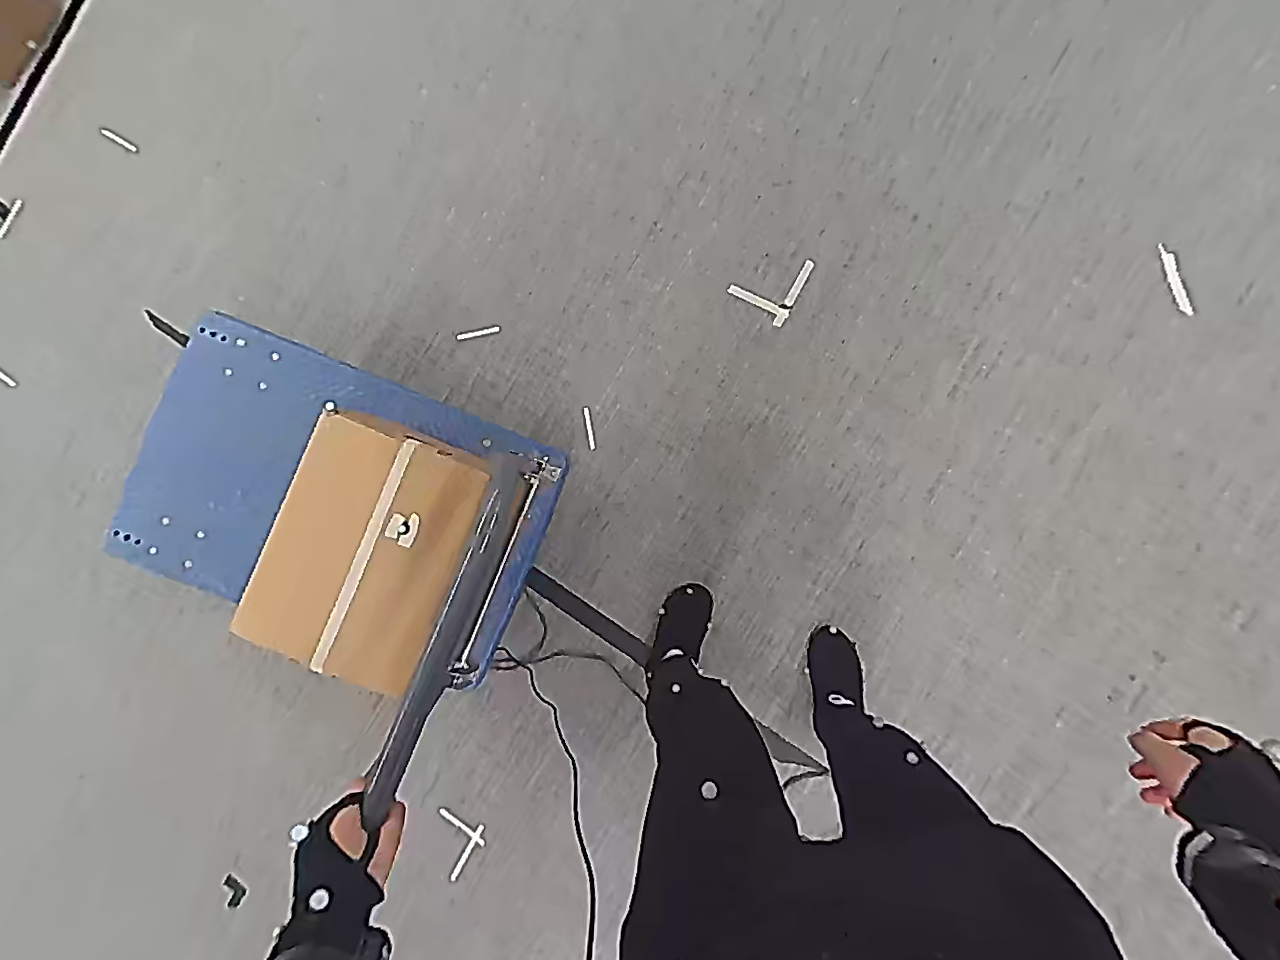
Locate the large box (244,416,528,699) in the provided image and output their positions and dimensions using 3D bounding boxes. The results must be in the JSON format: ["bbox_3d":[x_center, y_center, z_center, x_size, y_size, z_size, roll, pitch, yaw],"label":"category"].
[{"bbox_3d":[-0.454,0.135,1.054,0.320,0.320,0.408,22,88,-2],"label":"large box"}]
